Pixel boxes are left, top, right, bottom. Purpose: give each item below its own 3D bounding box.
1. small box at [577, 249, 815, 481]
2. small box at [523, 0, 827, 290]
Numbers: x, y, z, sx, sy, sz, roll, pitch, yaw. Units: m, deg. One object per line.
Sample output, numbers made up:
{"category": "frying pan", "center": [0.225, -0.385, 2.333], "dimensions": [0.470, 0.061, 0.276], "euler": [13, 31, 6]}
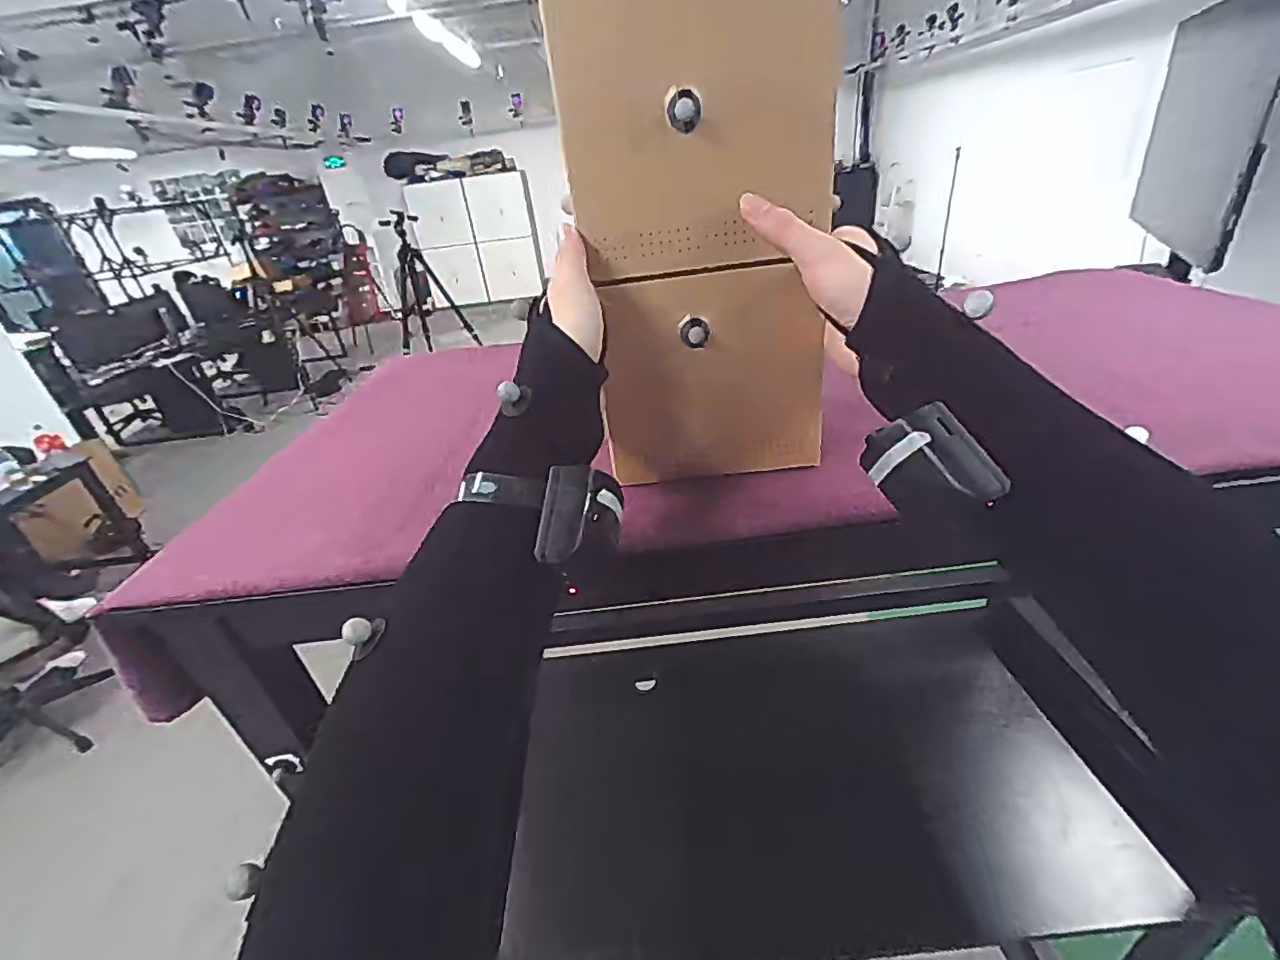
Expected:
{"category": "small box", "center": [0.051, -0.110, 0.490], "dimensions": [0.179, 0.176, 0.168], "euler": [-6, 29, 4]}
{"category": "small box", "center": [0.030, -0.253, 0.411], "dimensions": [0.179, 0.176, 0.168], "euler": [-7, 28, 4]}
